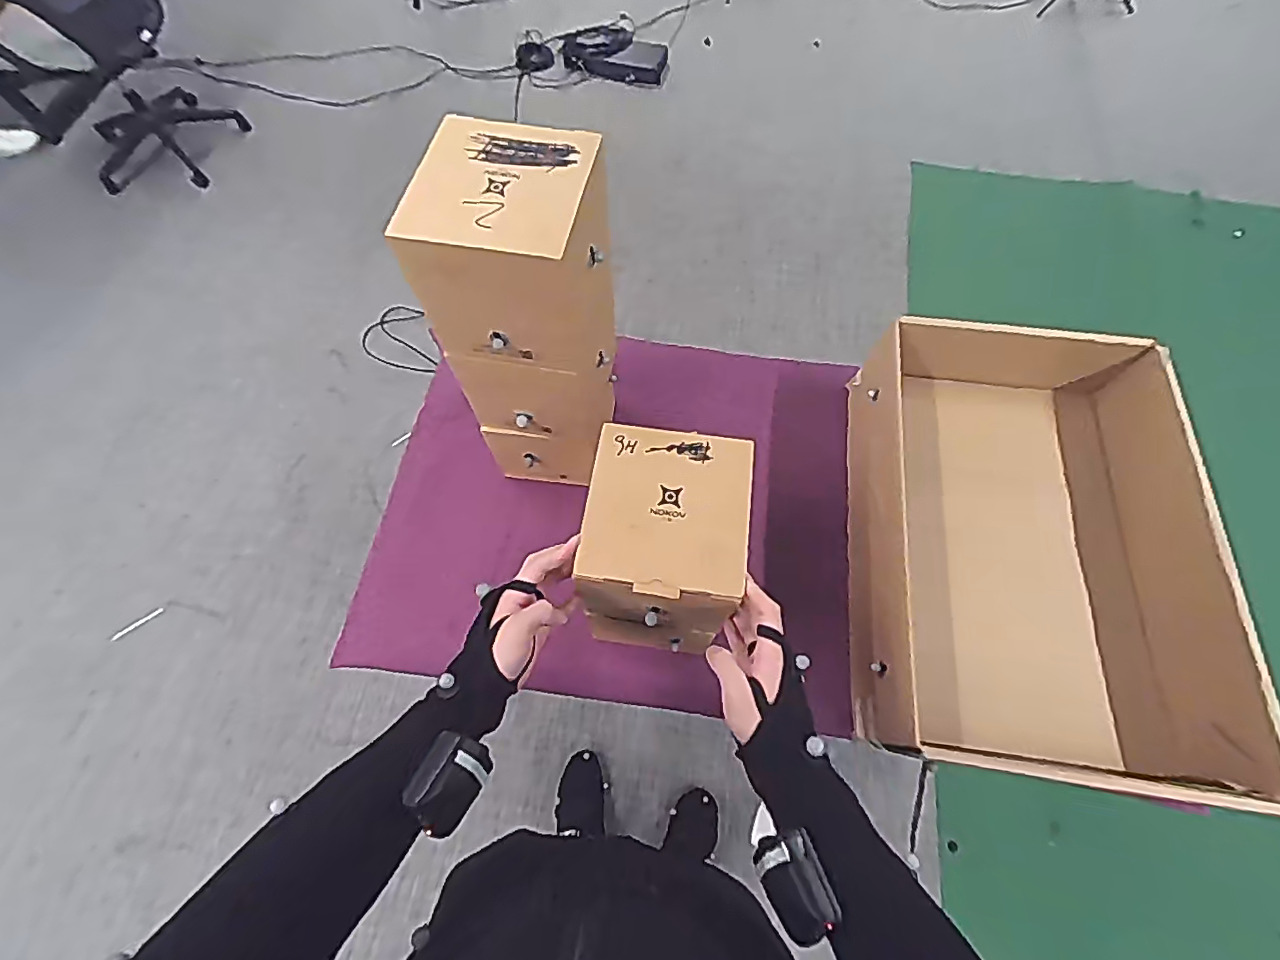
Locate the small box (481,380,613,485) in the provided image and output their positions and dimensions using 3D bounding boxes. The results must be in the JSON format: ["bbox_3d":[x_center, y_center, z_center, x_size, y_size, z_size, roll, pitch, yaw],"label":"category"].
[{"bbox_3d":[-0.138,-0.105,0.882,0.168,0.176,0.179,6,65,3],"label":"small box"}]

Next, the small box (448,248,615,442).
[{"bbox_3d":[-0.131,-0.177,0.733,0.168,0.176,0.179,10,66,5],"label":"small box"}]

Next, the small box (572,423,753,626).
[{"bbox_3d":[0.028,0.060,0.618,0.168,0.176,0.179,8,65,4],"label":"small box"}]

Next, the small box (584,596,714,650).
[{"bbox_3d":[0.024,0.134,0.768,0.168,0.176,0.179,8,64,3],"label":"small box"}]
